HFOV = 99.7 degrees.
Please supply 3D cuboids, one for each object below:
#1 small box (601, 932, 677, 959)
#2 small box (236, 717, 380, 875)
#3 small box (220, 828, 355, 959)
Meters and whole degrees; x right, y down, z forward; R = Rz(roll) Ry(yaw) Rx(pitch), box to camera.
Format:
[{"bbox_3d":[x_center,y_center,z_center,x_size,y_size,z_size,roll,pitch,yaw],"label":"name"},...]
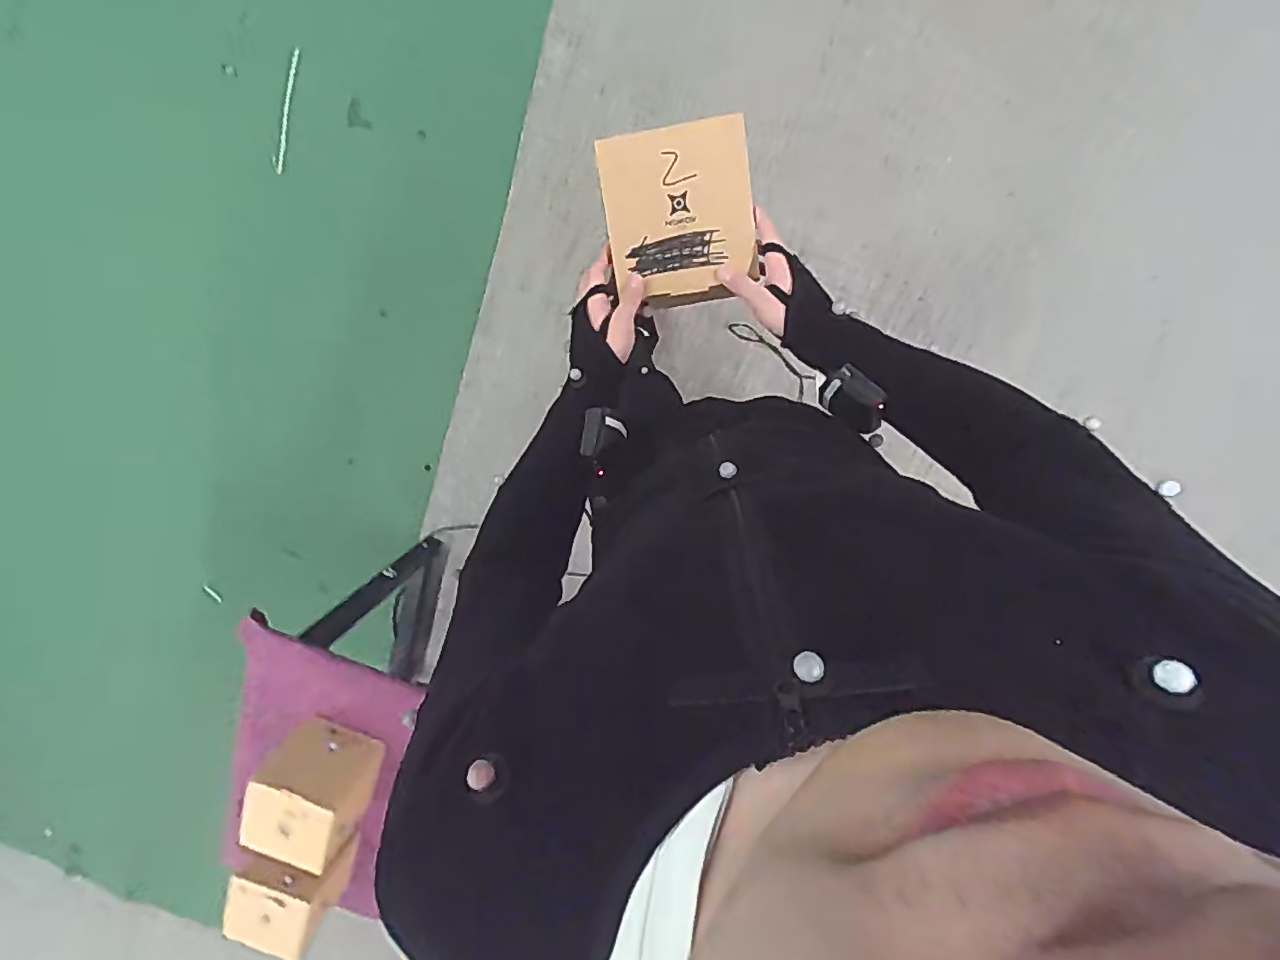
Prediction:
[{"bbox_3d":[-0.015,1.100,1.123,0.168,0.176,0.179,20,107,2],"label":"small box"},{"bbox_3d":[-0.640,0.610,1.058,0.168,0.176,0.179,22,108,-1],"label":"small box"},{"bbox_3d":[-0.731,0.844,1.136,0.168,0.176,0.179,20,106,0],"label":"small box"}]
